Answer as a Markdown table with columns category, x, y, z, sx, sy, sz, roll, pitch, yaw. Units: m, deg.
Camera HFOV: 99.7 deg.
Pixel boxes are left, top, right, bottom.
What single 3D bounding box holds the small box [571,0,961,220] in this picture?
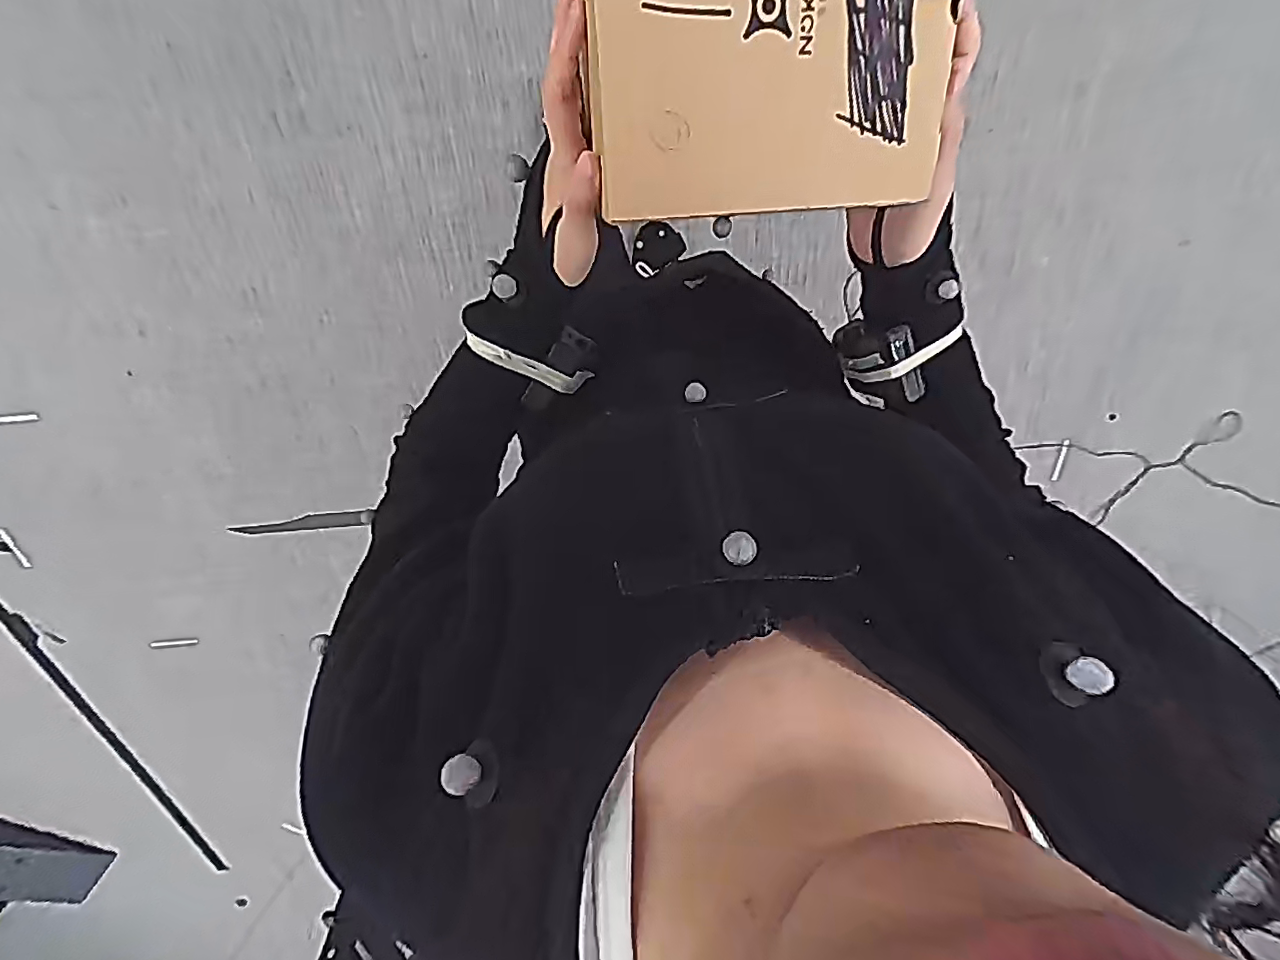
| category | x | y | z | sx | sy | sz | roll | pitch | yaw |
| --- | --- | --- | --- | --- | --- | --- | --- | --- | --- |
| small box | 0.054 | -0.250 | 0.314 | 0.179 | 0.176 | 0.168 | -6 | 118 | -5 |
